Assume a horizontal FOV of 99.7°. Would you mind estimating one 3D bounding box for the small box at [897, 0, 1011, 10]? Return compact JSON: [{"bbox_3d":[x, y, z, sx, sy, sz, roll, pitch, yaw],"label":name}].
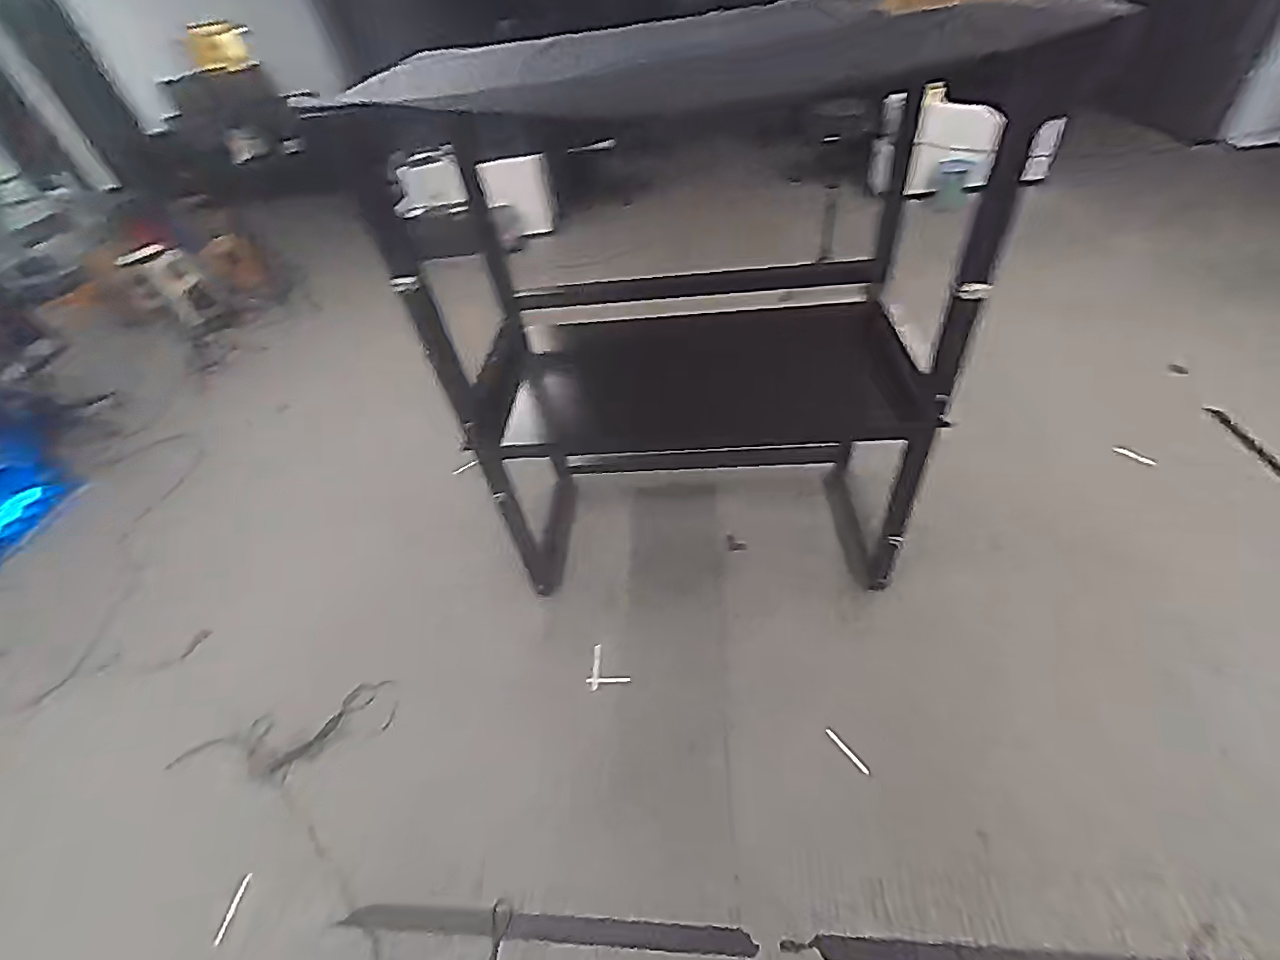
[{"bbox_3d":[0.509,-0.854,0.839,0.168,0.176,0.179,1,46,12],"label":"small box"}]
